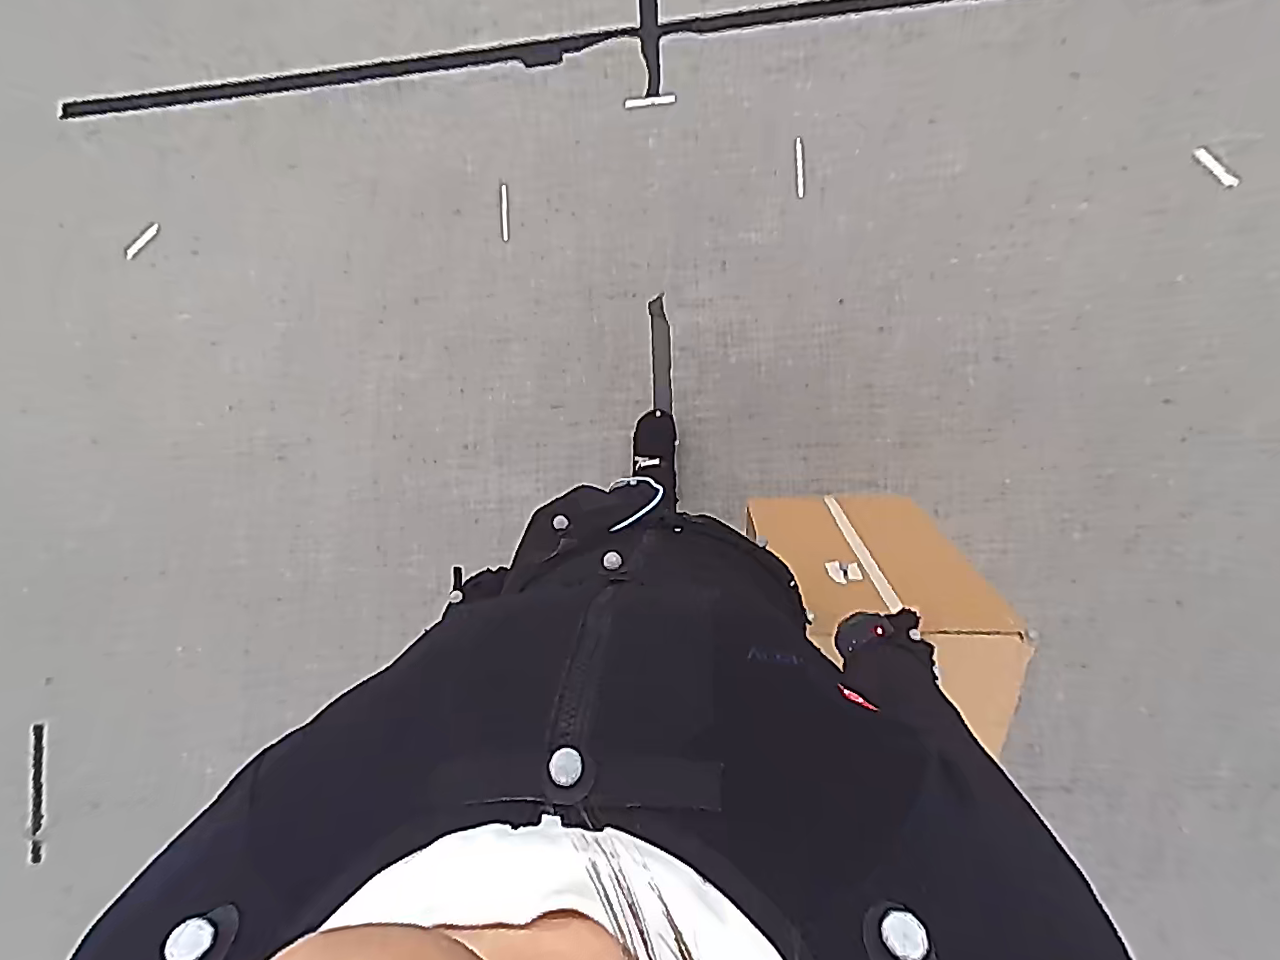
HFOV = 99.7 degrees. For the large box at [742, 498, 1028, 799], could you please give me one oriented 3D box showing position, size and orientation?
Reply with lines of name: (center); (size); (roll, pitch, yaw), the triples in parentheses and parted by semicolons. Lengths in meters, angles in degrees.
large box: (0.355, 0.256, 0.929); (0.320, 0.408, 0.320); (-1, 114, 6)
